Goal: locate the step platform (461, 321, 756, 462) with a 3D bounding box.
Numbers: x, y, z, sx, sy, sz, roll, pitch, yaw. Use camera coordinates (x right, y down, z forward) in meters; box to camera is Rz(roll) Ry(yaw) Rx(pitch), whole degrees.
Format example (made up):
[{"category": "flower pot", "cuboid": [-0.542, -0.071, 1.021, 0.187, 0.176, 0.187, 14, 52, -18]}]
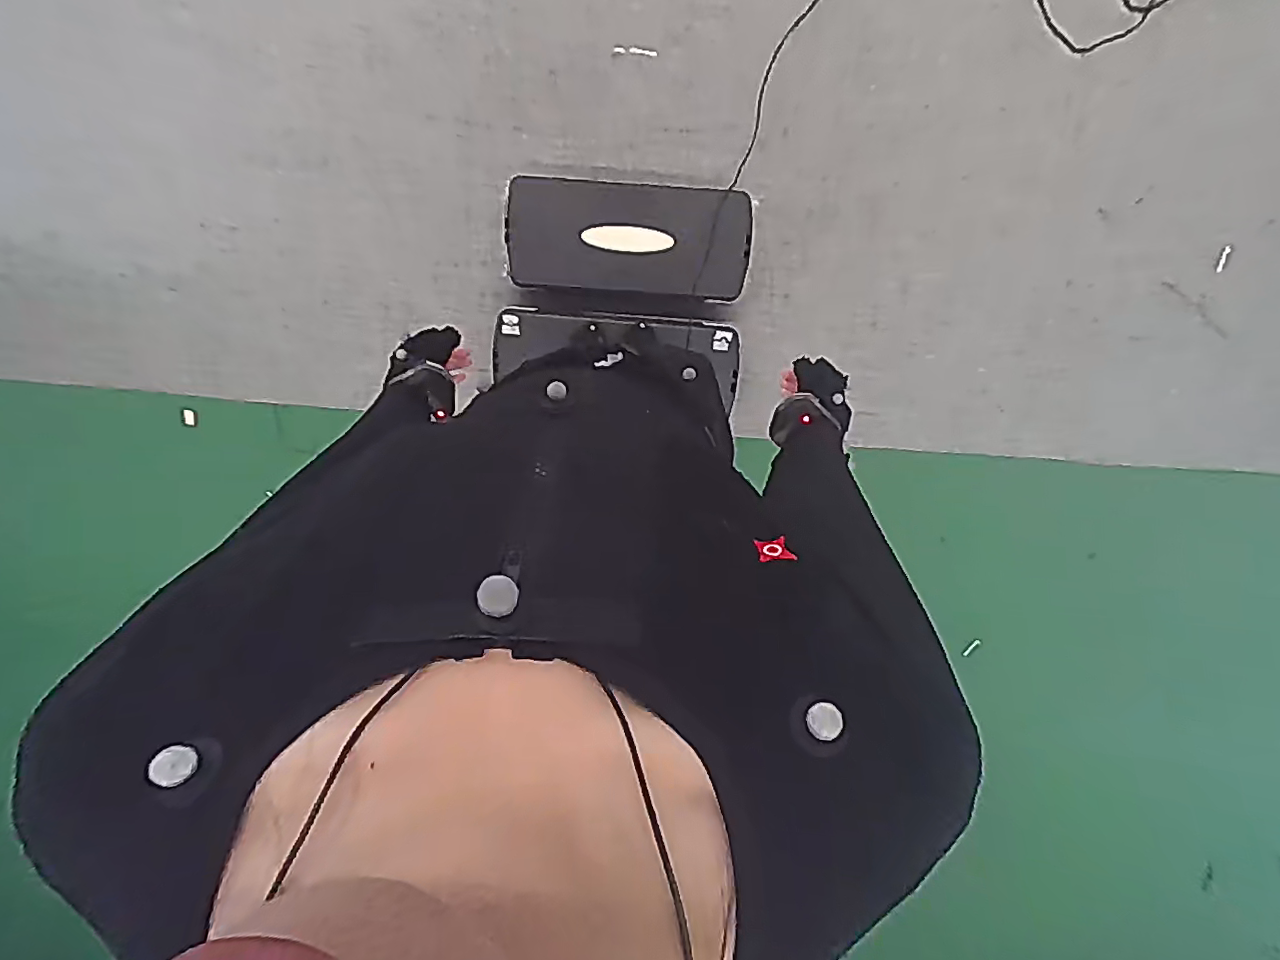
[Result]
[{"category": "step platform", "cuboid": [-0.074, -0.224, 1.341, 0.684, 0.204, 0.286, 4, 106, -2]}]
